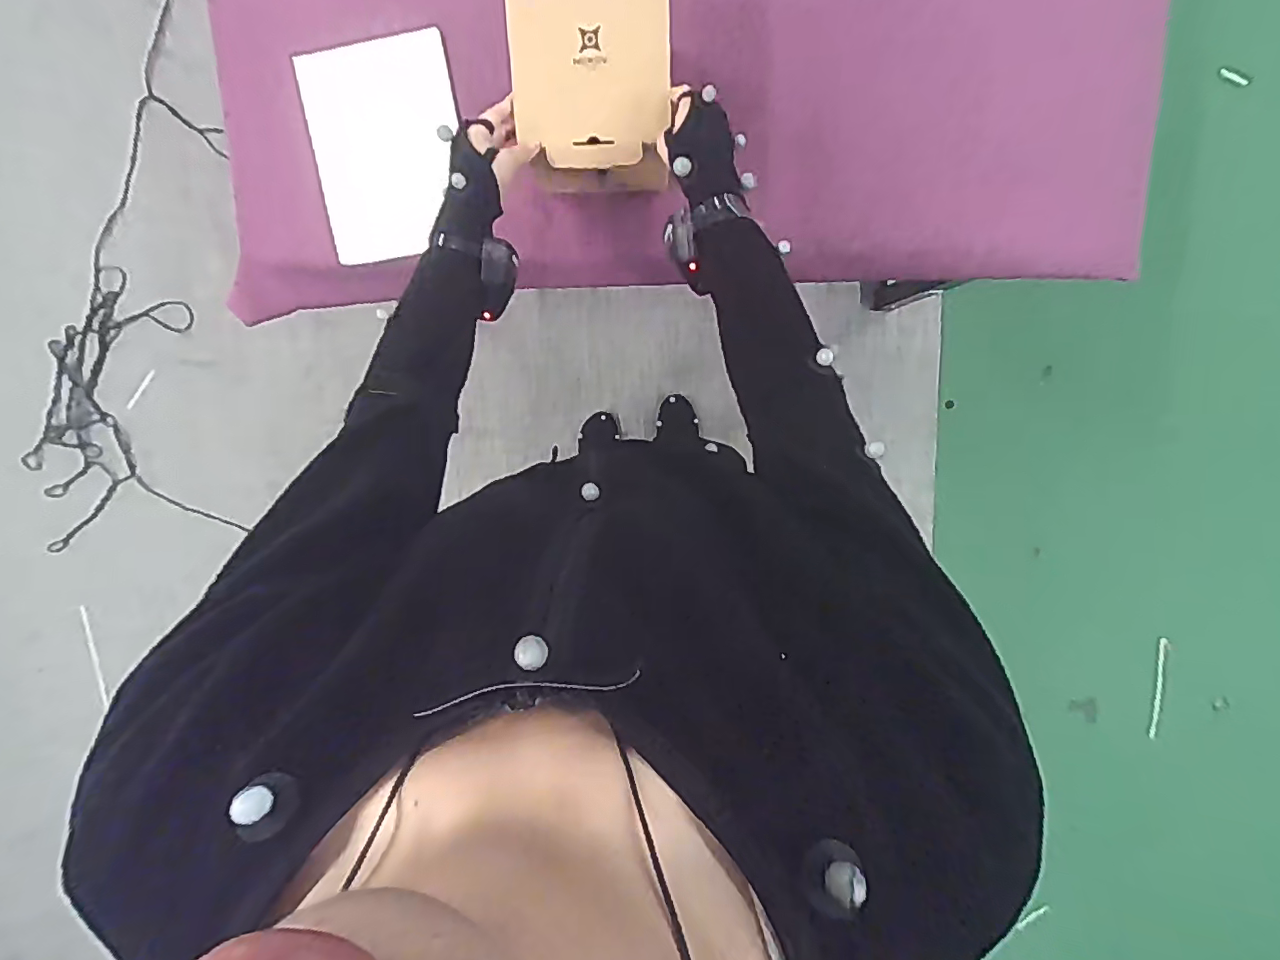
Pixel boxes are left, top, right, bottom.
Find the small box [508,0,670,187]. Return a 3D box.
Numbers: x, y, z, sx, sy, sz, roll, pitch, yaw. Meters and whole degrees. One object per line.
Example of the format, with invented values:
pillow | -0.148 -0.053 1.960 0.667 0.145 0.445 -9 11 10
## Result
small box | -0.049 -0.455 0.631 0.168 0.176 0.179 -1 103 1
